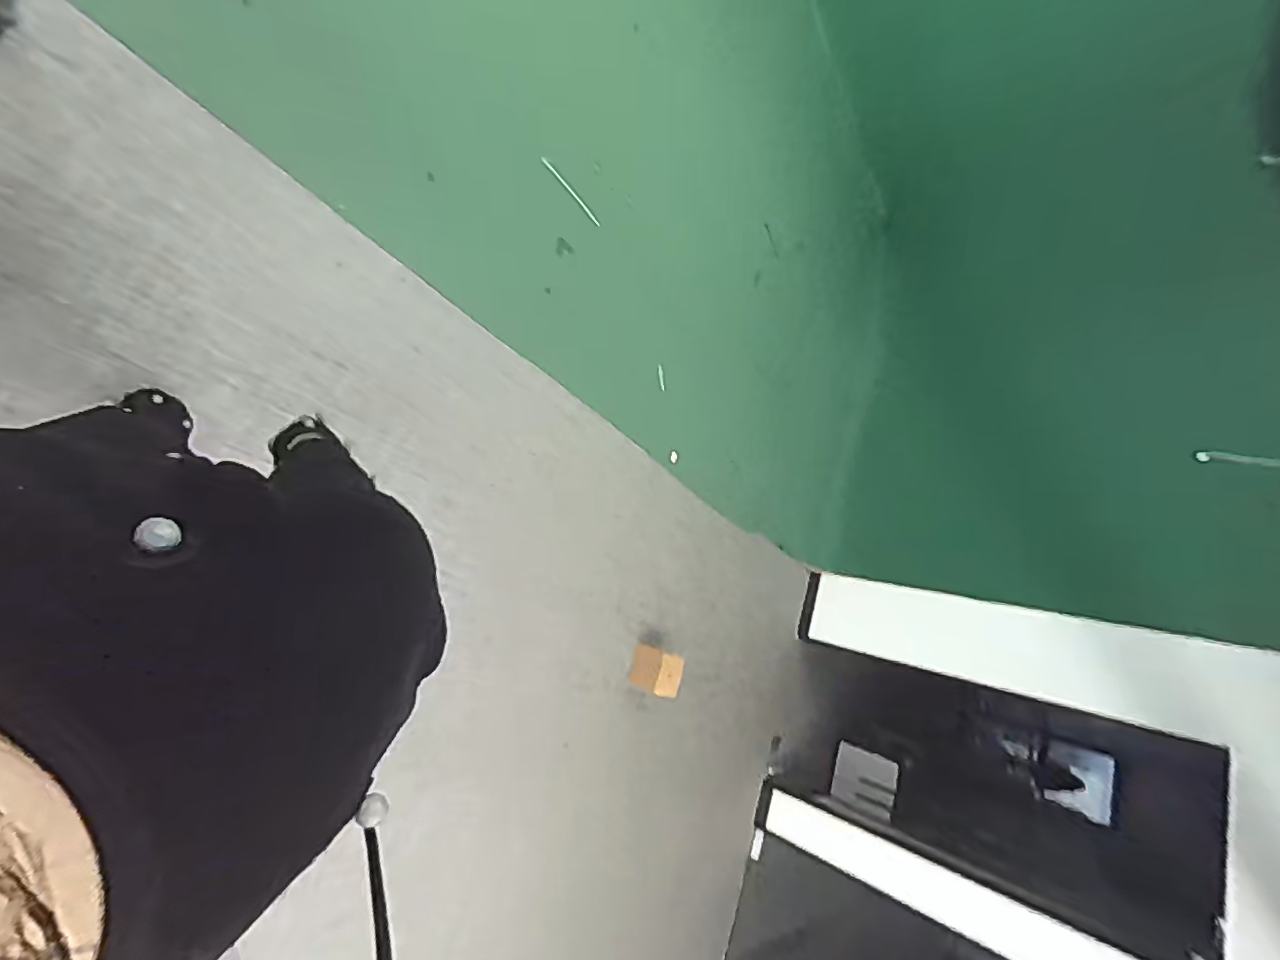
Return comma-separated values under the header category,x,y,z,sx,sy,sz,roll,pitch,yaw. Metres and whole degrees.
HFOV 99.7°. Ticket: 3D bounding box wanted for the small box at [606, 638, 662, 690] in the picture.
category,x,y,z,sx,sy,sz,roll,pitch,yaw
small box,-0.032,0.830,2.438,0.168,0.176,0.179,32,70,-48
